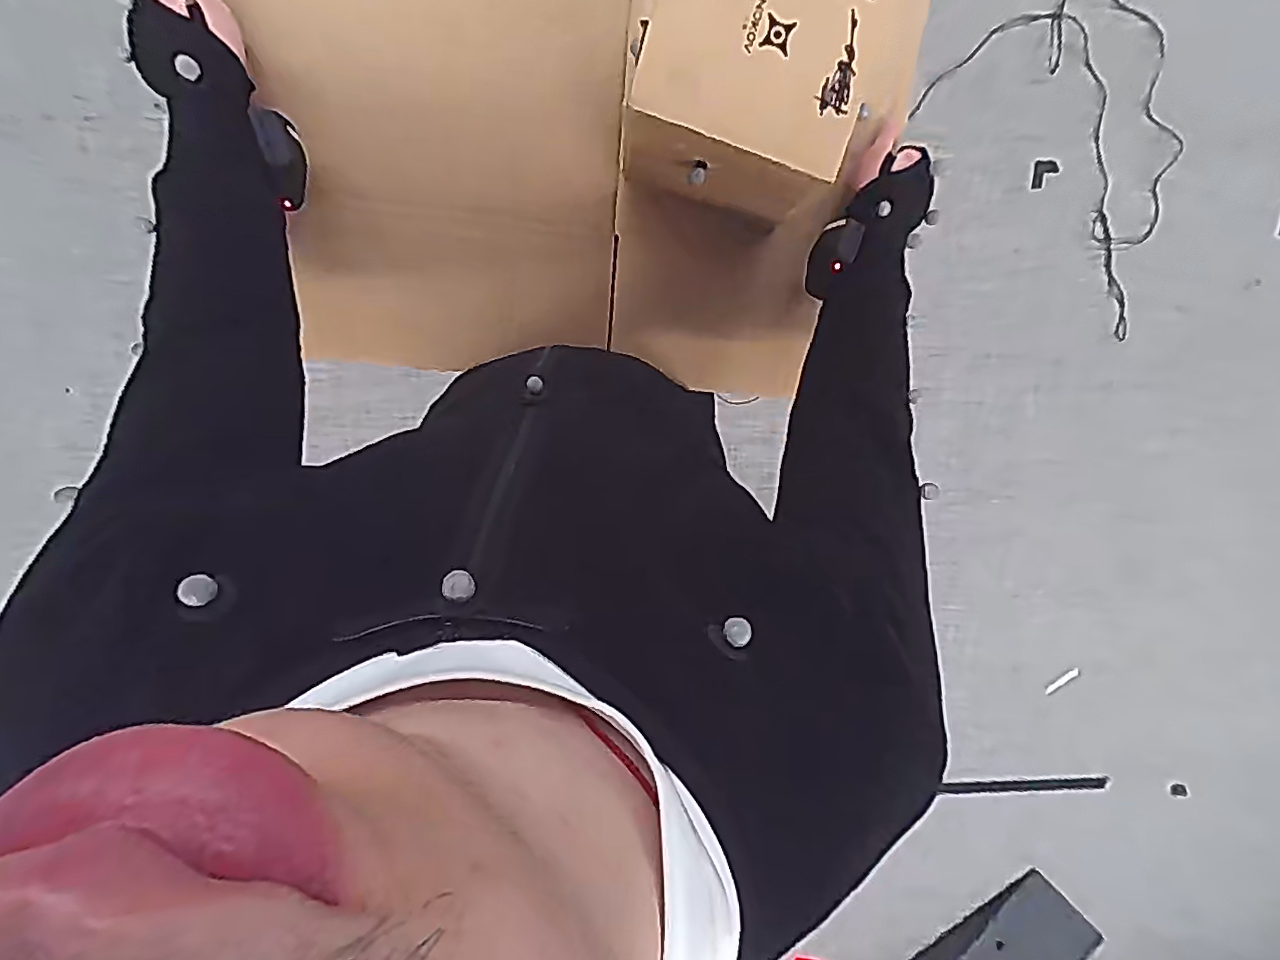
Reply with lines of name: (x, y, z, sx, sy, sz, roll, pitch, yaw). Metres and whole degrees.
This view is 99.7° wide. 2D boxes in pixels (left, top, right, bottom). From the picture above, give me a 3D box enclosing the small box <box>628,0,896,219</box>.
small box: (0.095, -0.358, 0.487, 0.179, 0.176, 0.168, 16, 102, -5)
